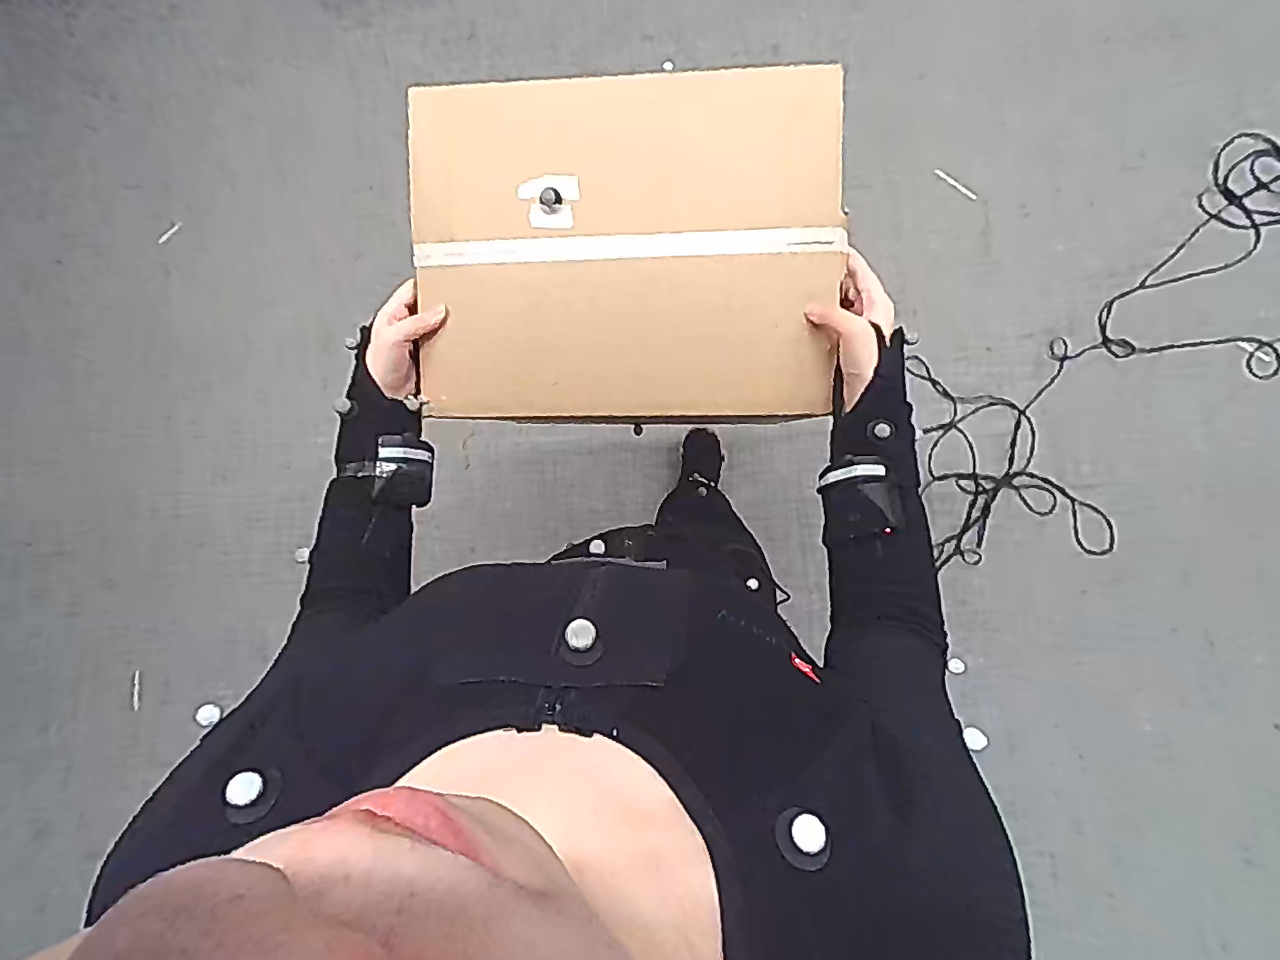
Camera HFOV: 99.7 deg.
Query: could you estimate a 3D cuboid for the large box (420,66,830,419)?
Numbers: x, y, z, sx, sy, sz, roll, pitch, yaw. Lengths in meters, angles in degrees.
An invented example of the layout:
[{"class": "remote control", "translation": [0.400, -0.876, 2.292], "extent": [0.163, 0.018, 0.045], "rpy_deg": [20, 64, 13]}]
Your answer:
[{"class": "large box", "translation": [-0.001, -0.237, 0.675], "extent": [0.408, 0.320, 0.320], "rpy_deg": [0, 94, 6]}]
